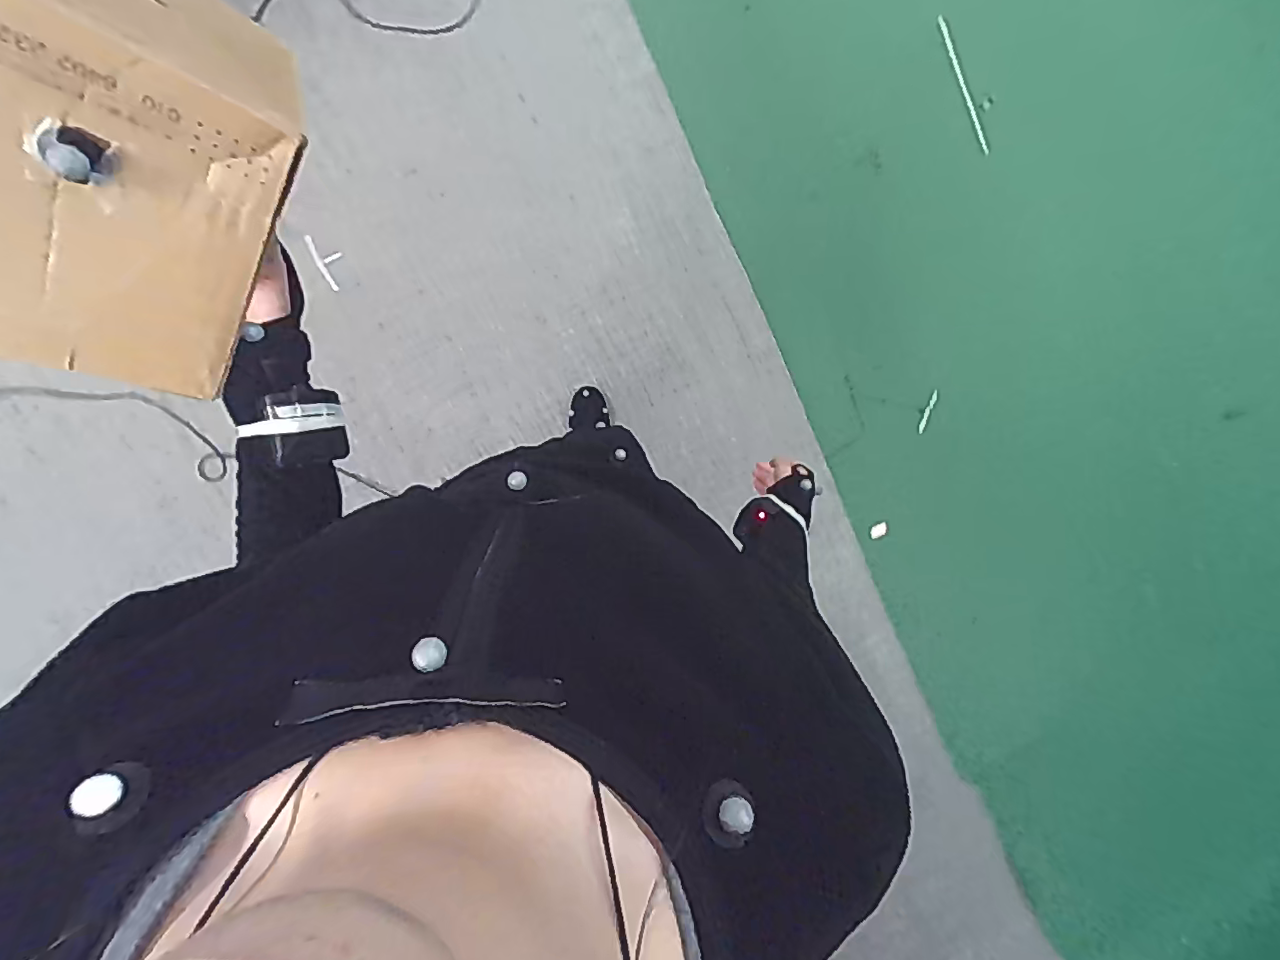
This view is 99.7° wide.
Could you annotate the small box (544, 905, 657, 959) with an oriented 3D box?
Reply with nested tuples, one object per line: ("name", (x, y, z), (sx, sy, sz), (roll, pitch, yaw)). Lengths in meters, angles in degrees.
("small box", (-0.061, 0.880, 0.907), (0.179, 0.176, 0.168), (-24, 99, -4))
